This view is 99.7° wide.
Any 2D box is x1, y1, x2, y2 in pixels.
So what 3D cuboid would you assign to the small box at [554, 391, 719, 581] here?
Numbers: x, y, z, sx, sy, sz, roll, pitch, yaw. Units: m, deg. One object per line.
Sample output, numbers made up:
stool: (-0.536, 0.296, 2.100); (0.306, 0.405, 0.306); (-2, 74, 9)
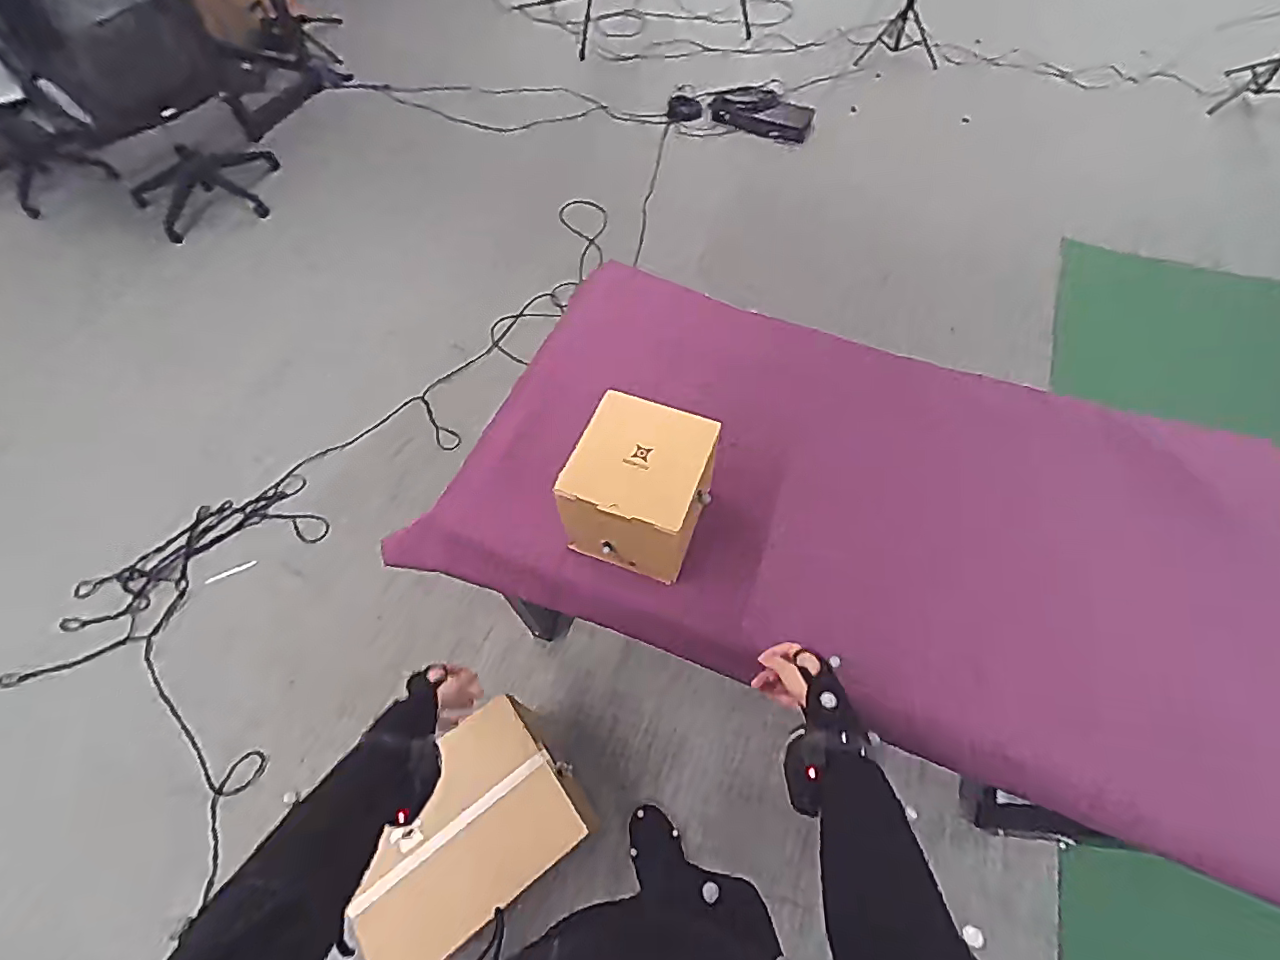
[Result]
small box: (-0.001, 0.012, 0.750); (0.168, 0.176, 0.179); (18, 61, 11)
